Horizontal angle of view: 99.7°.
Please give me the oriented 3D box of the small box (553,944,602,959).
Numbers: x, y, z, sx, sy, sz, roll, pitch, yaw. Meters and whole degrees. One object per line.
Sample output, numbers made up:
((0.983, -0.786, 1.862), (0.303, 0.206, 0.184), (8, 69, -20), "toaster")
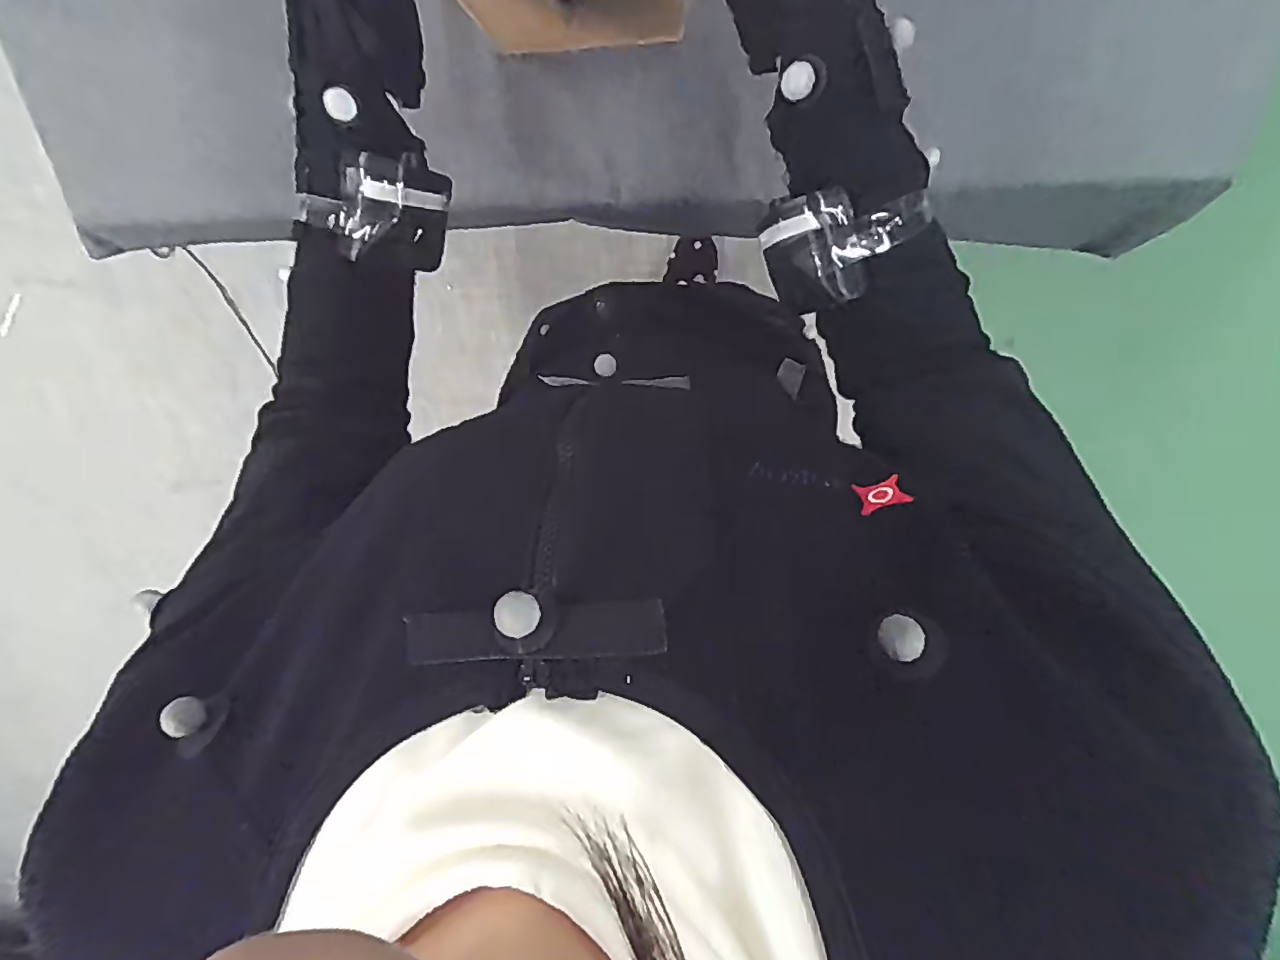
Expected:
((-0.223, 1.764, 1.885), (0.168, 0.176, 0.179), (-2, 113, 5), "small box")

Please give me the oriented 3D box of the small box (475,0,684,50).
((-0.053, -0.455, 0.412), (0.179, 0.176, 0.168), (-2, 115, 3), "small box")
